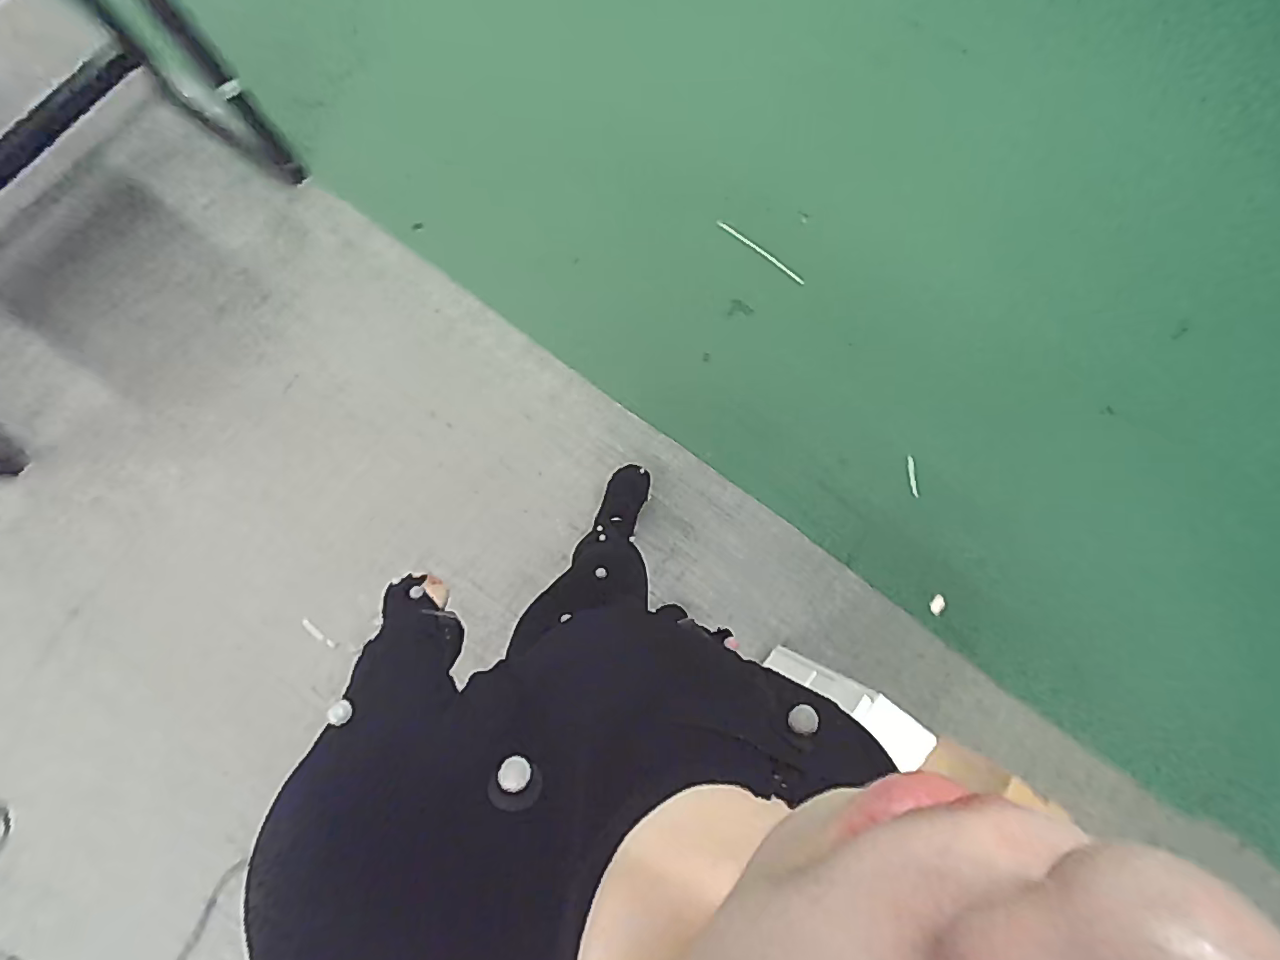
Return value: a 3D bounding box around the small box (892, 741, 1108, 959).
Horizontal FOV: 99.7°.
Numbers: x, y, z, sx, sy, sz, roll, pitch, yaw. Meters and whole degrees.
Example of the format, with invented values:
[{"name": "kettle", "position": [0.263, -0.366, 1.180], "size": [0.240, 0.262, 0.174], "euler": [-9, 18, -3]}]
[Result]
[{"name": "small box", "position": [0.516, 0.529, 0.804], "size": [0.168, 0.176, 0.179], "euler": [40, 82, 3]}]
